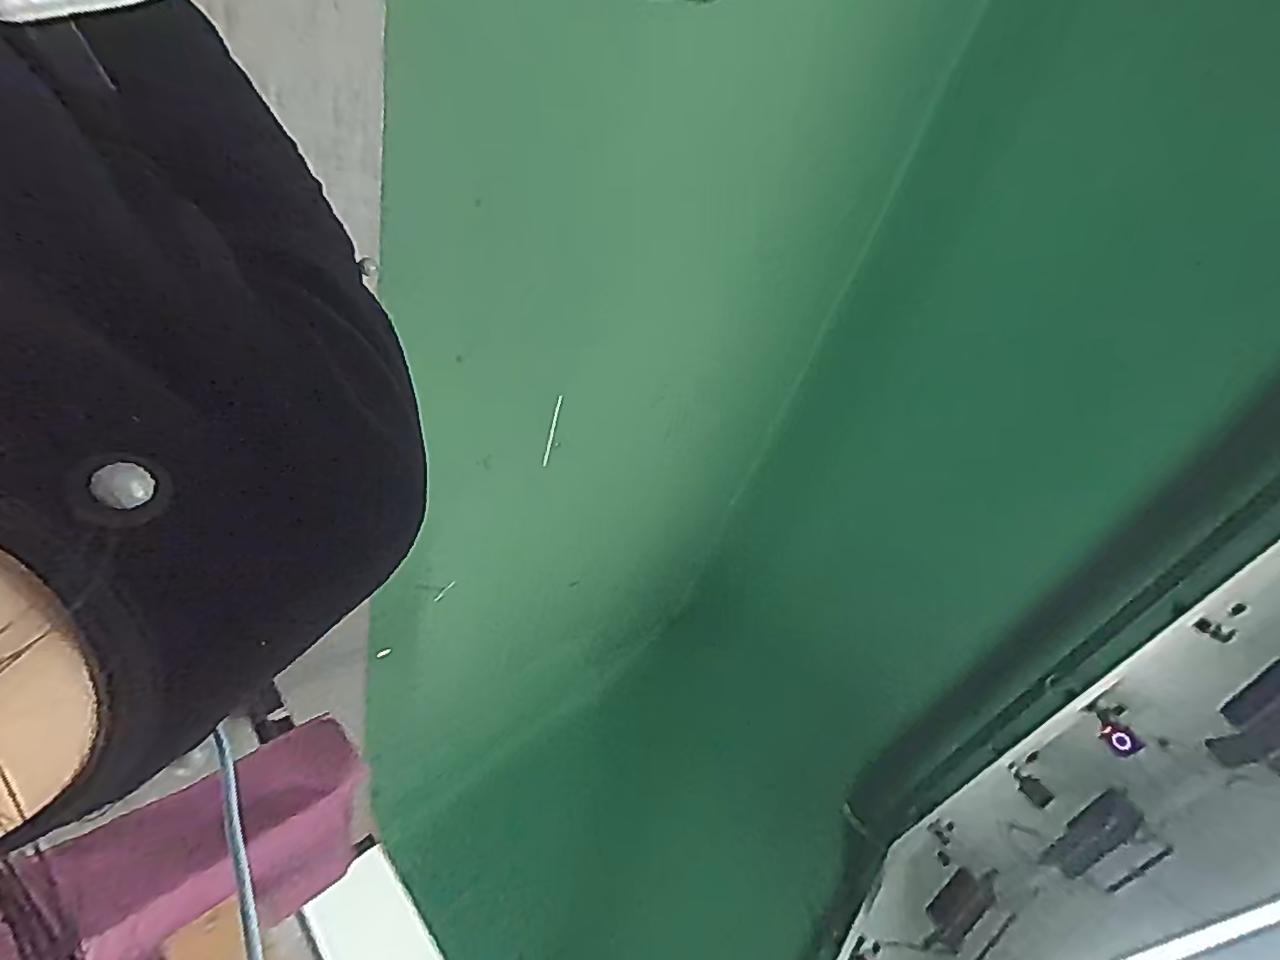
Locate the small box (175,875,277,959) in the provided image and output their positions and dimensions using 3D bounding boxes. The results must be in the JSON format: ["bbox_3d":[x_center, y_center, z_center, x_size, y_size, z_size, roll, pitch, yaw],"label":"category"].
[{"bbox_3d":[-1.052,1.171,1.380,0.179,0.176,0.168,-22,142,-42],"label":"small box"}]

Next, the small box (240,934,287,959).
[{"bbox_3d":[-0.941,1.265,1.304,0.179,0.176,0.168,-23,142,-42],"label":"small box"}]
